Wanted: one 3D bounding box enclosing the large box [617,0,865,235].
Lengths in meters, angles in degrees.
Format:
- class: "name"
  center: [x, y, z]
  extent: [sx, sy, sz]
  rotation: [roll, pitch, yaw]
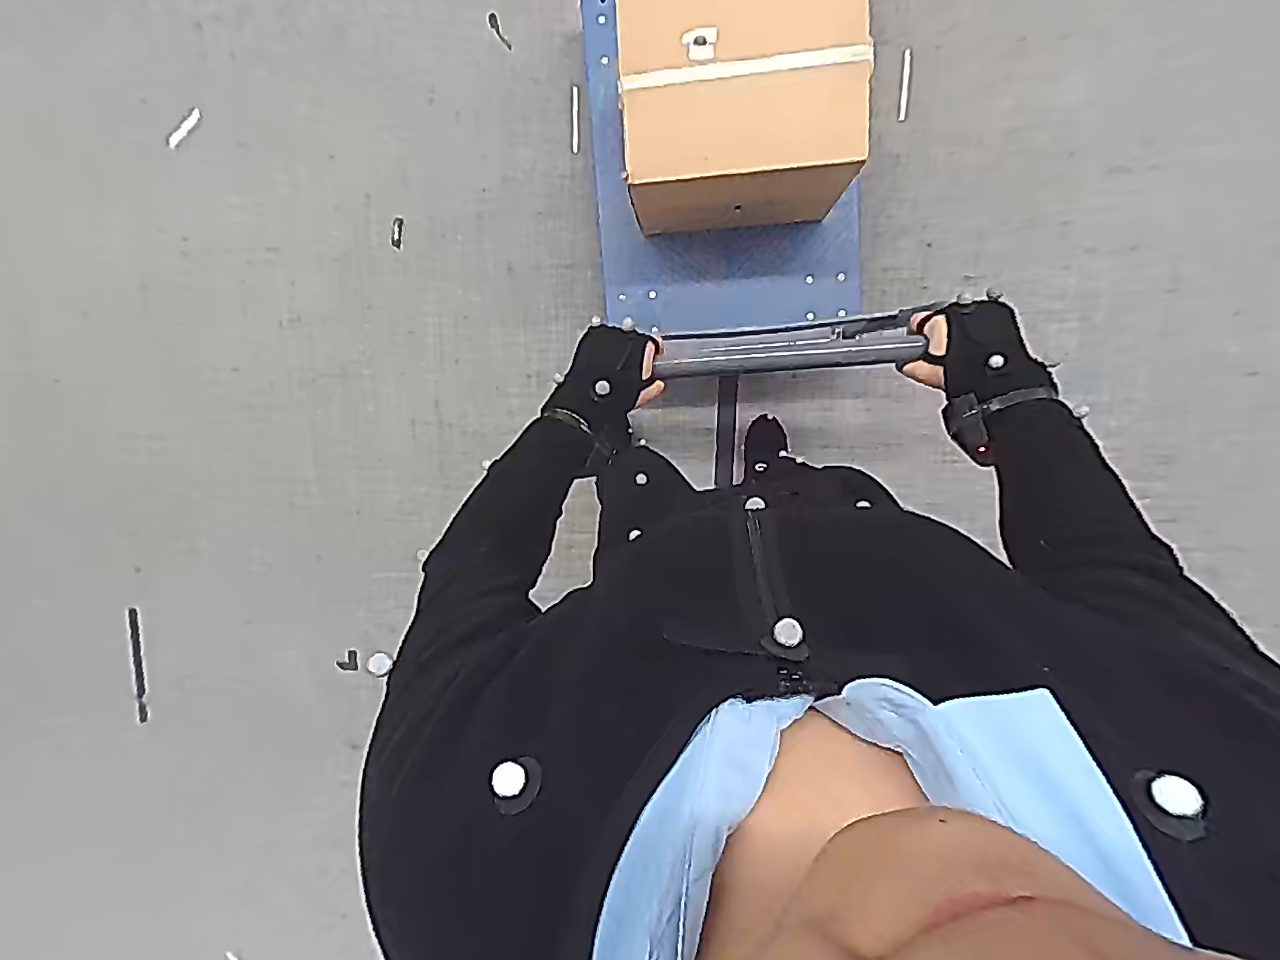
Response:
- class: "large box"
  center: [0.187, -0.697, 1.051]
  extent: [0.408, 0.320, 0.320]
  rotation: [-3, 98, 7]
